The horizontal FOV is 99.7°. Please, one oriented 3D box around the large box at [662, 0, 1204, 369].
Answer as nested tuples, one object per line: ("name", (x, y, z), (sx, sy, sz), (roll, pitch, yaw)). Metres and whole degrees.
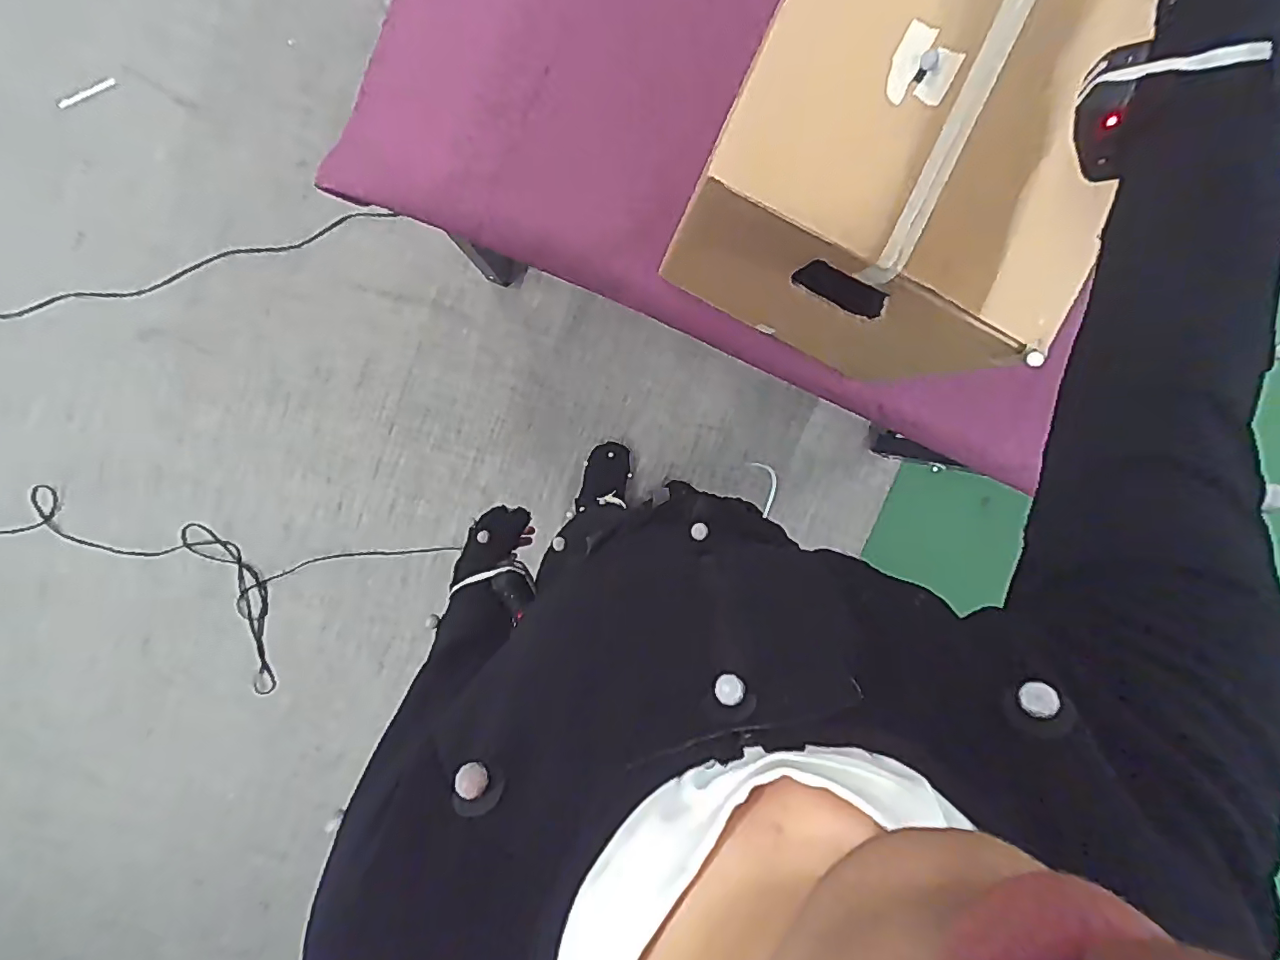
("large box", (0.257, -0.370, 0.569), (0.320, 0.320, 0.408), (25, 95, -7))
